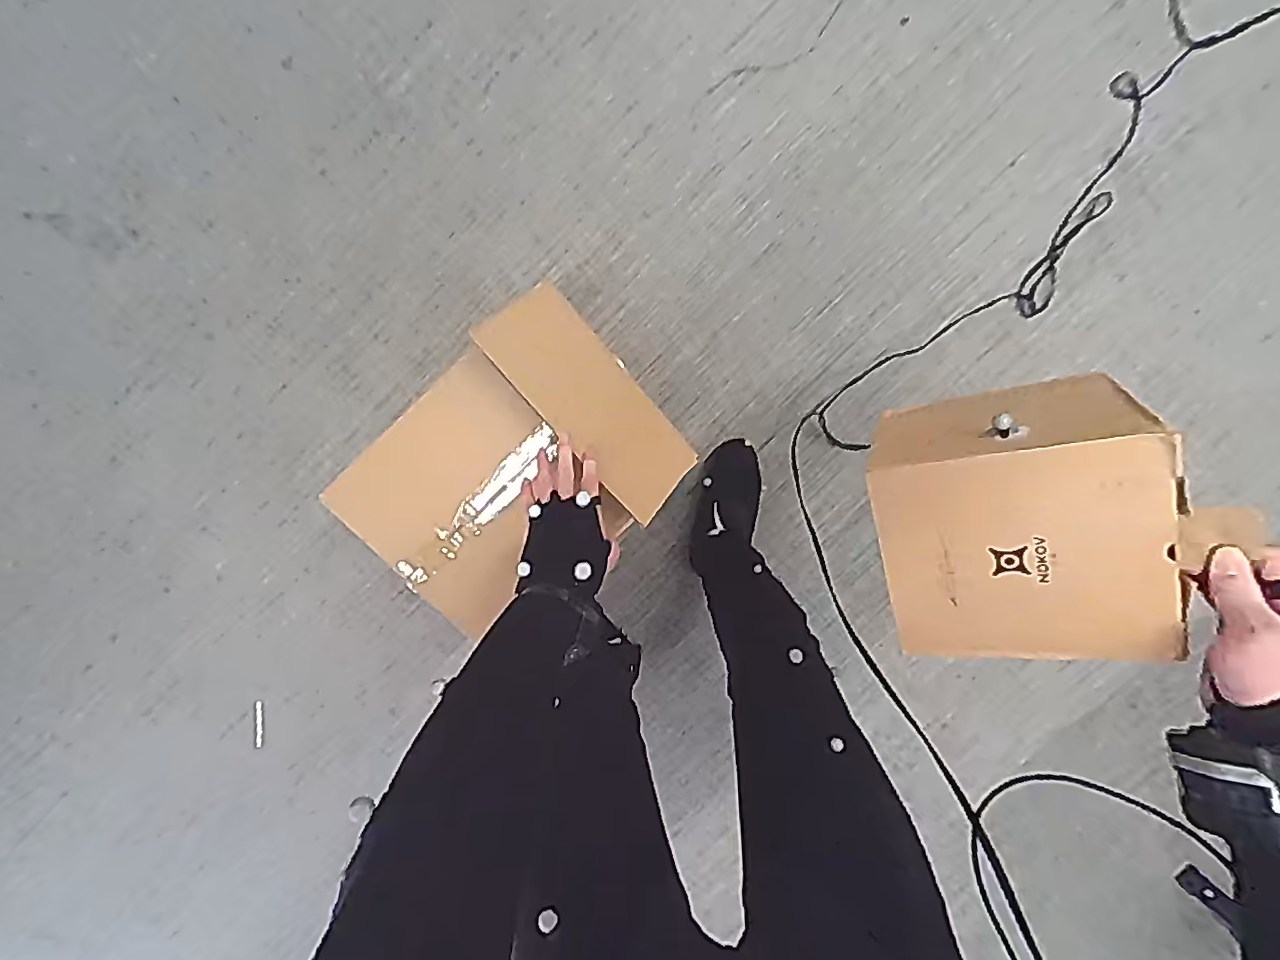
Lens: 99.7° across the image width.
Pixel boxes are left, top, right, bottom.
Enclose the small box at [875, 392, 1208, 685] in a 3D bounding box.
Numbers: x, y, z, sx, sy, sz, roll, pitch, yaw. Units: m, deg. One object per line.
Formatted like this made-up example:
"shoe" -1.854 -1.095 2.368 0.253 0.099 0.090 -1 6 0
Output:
"small box" 0.292 0.035 0.430 0.179 0.176 0.168 -6 107 29
